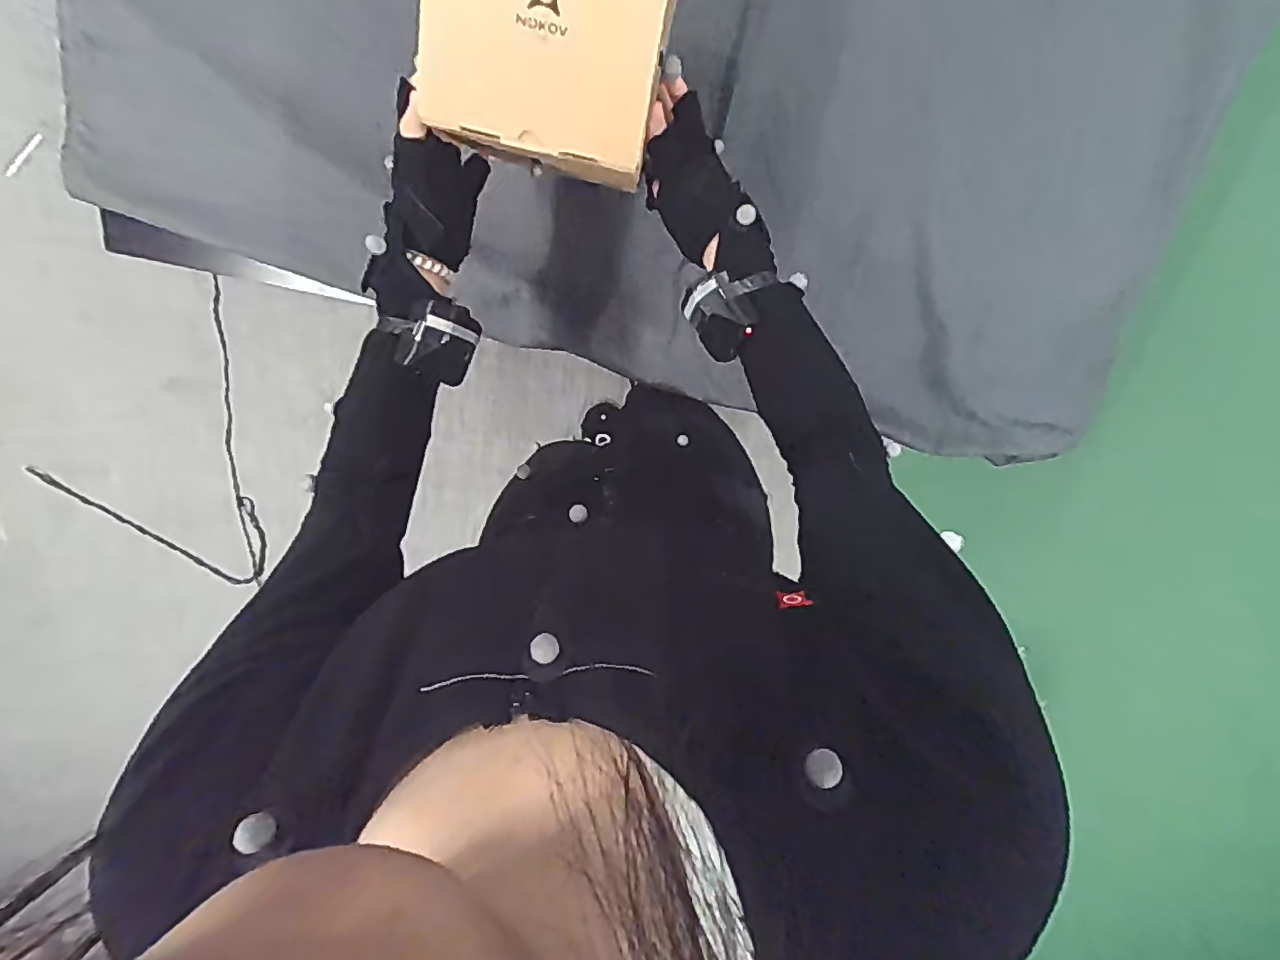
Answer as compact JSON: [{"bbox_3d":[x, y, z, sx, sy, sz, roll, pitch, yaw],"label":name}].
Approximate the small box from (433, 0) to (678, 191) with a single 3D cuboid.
[{"bbox_3d":[-0.061,-0.361,0.456,0.168,0.176,0.179,11,115,-5],"label":"small box"}]
